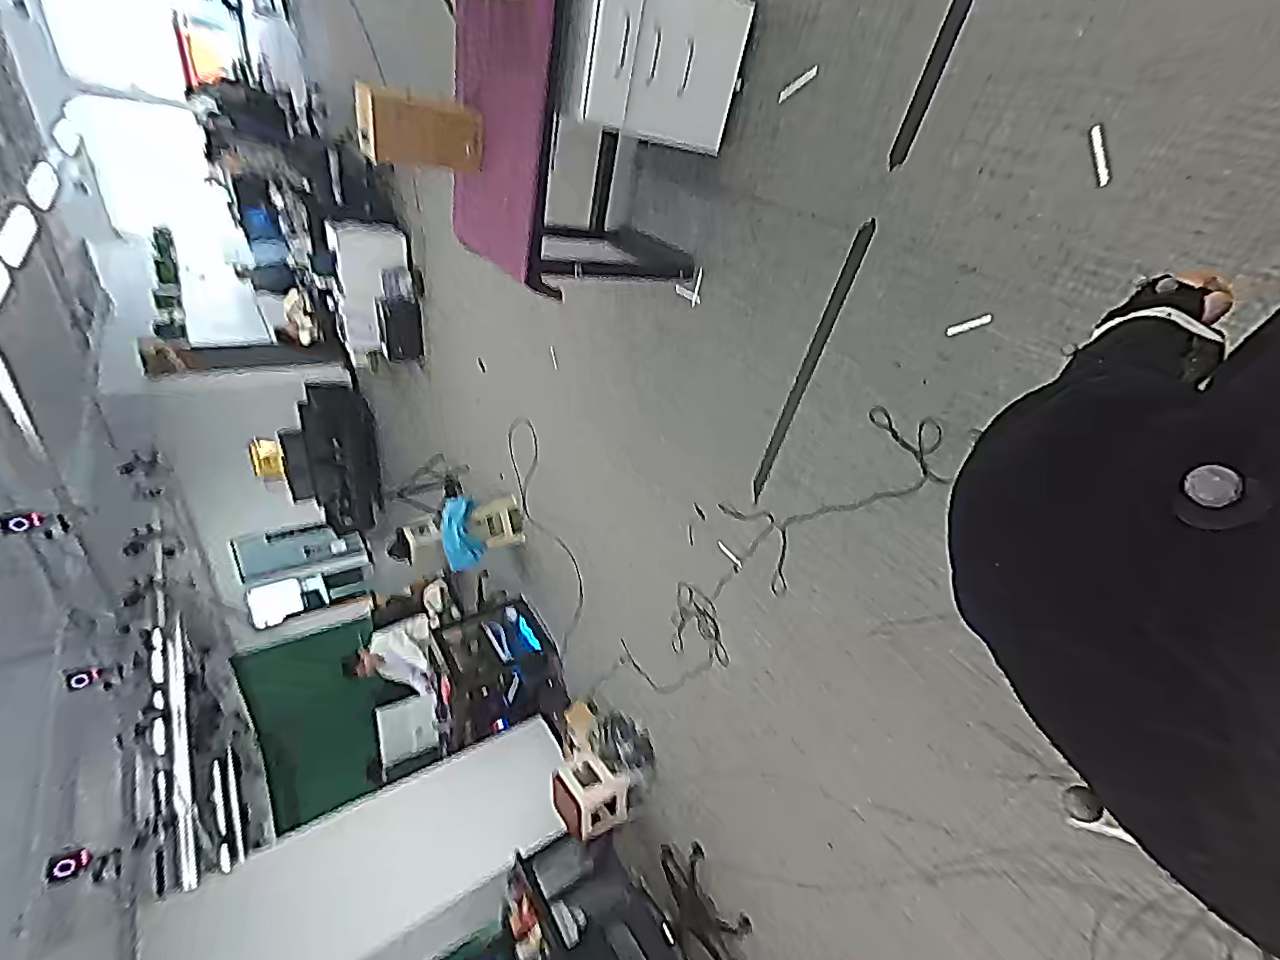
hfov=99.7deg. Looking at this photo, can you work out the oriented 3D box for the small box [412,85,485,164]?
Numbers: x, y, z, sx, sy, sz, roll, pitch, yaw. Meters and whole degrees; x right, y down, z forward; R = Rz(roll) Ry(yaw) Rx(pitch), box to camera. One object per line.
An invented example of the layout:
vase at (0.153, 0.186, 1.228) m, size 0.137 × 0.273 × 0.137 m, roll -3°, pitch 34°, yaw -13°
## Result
small box at (-0.614, -1.130, 1.729) m, size 0.179 × 0.176 × 0.168 m, roll 48°, pitch 138°, yaw 31°
